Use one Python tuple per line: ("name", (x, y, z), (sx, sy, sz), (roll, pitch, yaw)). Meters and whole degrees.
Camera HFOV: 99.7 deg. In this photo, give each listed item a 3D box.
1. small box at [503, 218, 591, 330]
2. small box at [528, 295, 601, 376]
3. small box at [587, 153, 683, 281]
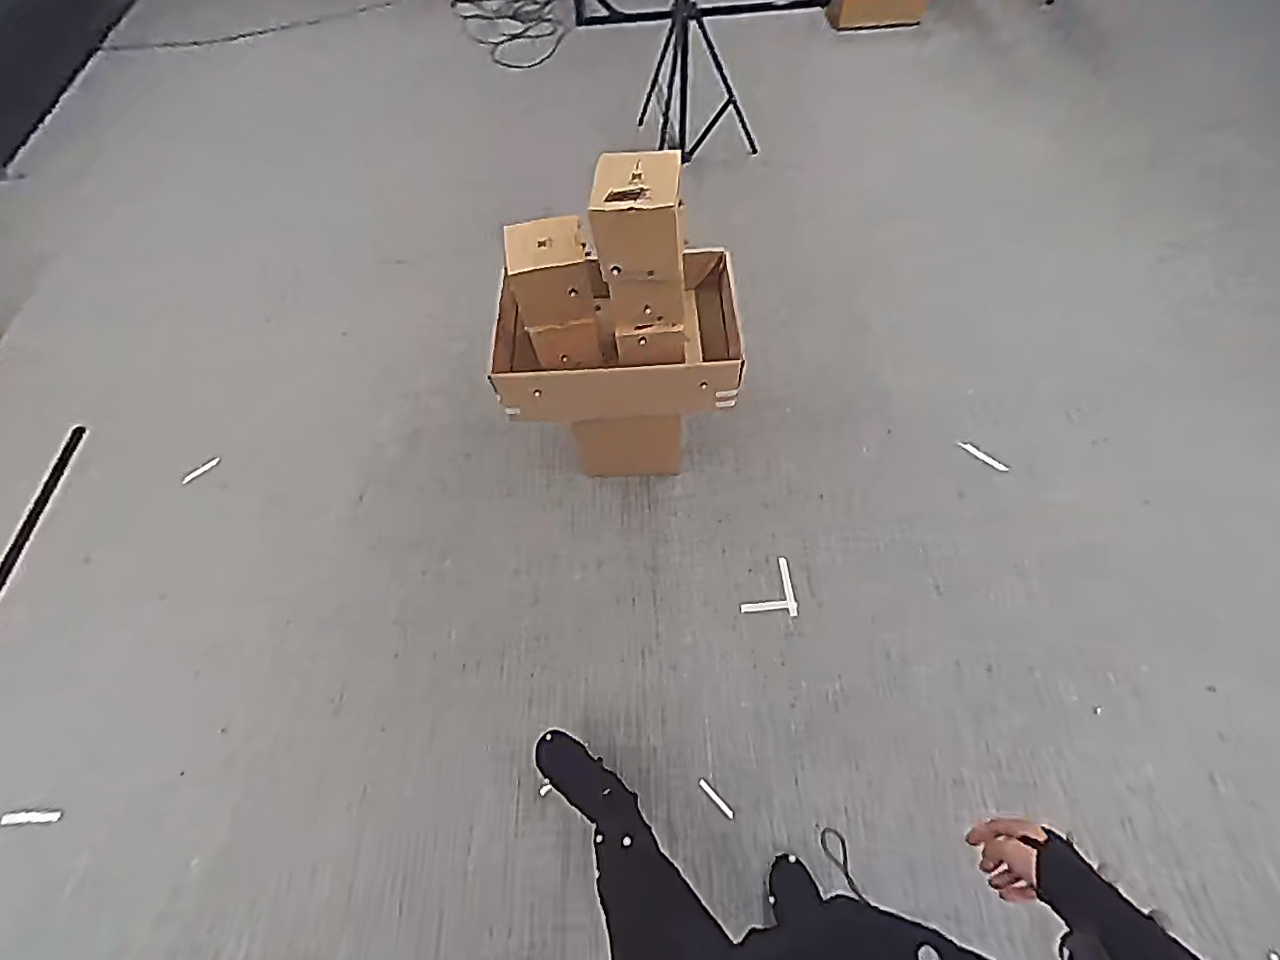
("small box", (-0.212, -0.480, 1.273), (0.179, 0.176, 0.168), (-11, 62, -3))
("small box", (-0.200, -0.399, 1.414), (0.168, 0.176, 0.179), (-10, 63, -2))
("small box", (0.000, -0.523, 1.094), (0.168, 0.176, 0.179), (2, 62, 8))
